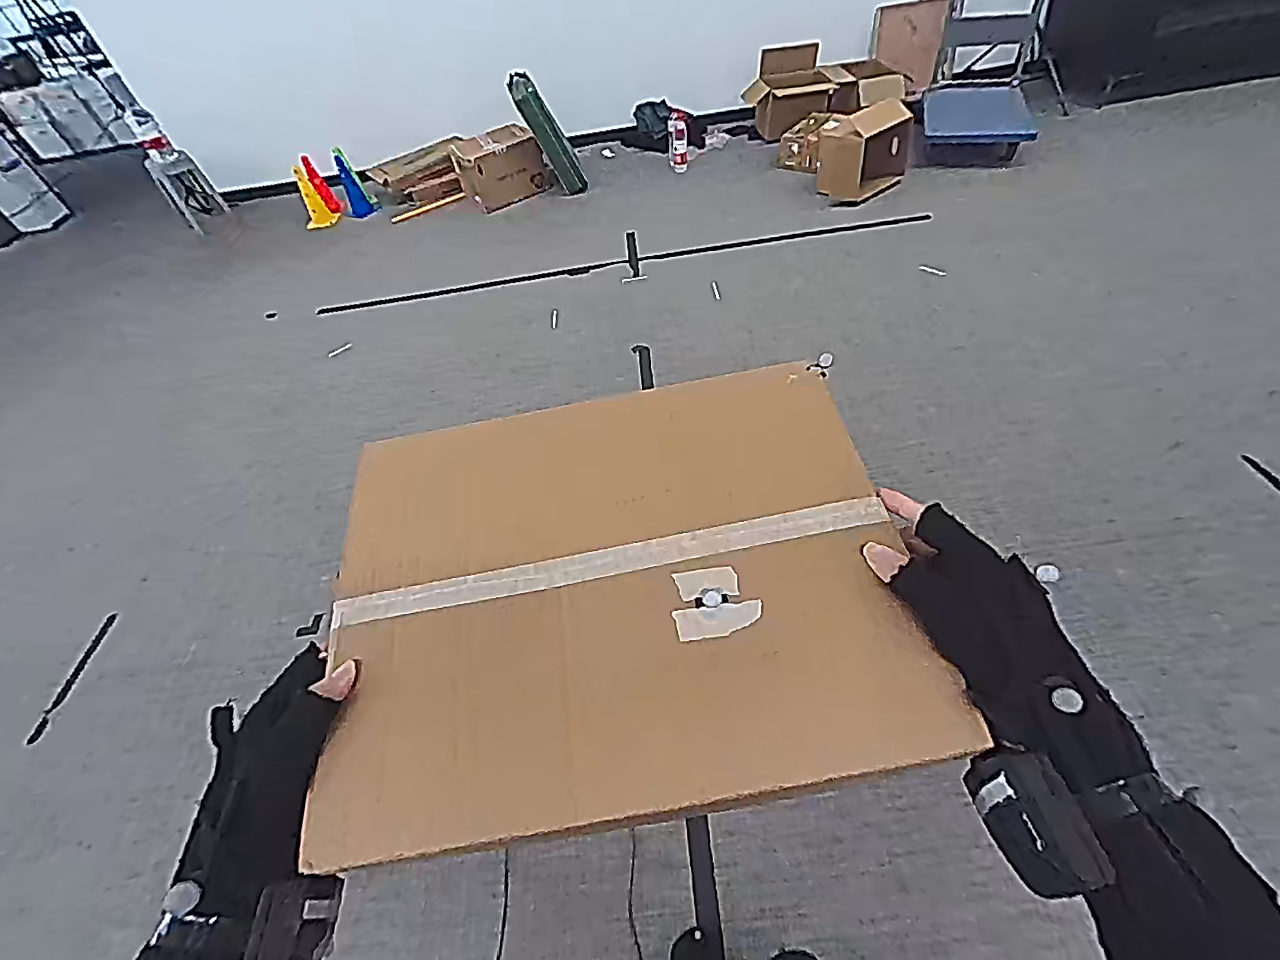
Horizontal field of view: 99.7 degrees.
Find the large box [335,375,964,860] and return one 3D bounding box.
[{"bbox_3d":[-0.003,0.147,0.534,0.408,0.320,0.320,-11,57,0],"label":"large box"}]
